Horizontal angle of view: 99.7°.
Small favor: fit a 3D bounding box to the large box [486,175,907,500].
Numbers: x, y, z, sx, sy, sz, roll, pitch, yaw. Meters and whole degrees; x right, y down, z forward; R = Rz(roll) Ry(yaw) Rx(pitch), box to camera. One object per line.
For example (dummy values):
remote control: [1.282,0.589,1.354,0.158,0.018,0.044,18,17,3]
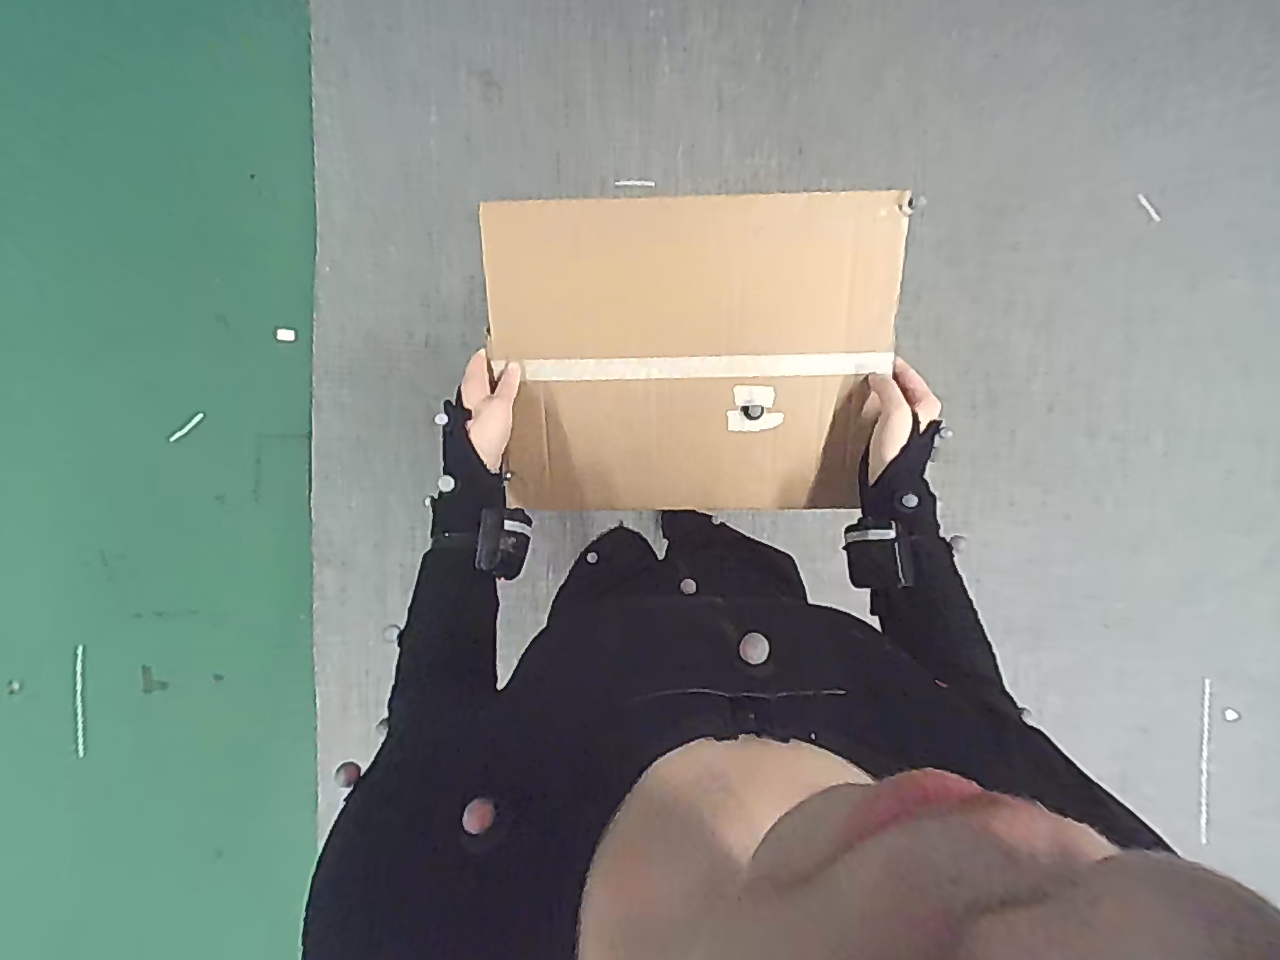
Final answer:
large box: [0.056,-0.173,0.691,0.408,0.320,0.320,-1,108,1]
